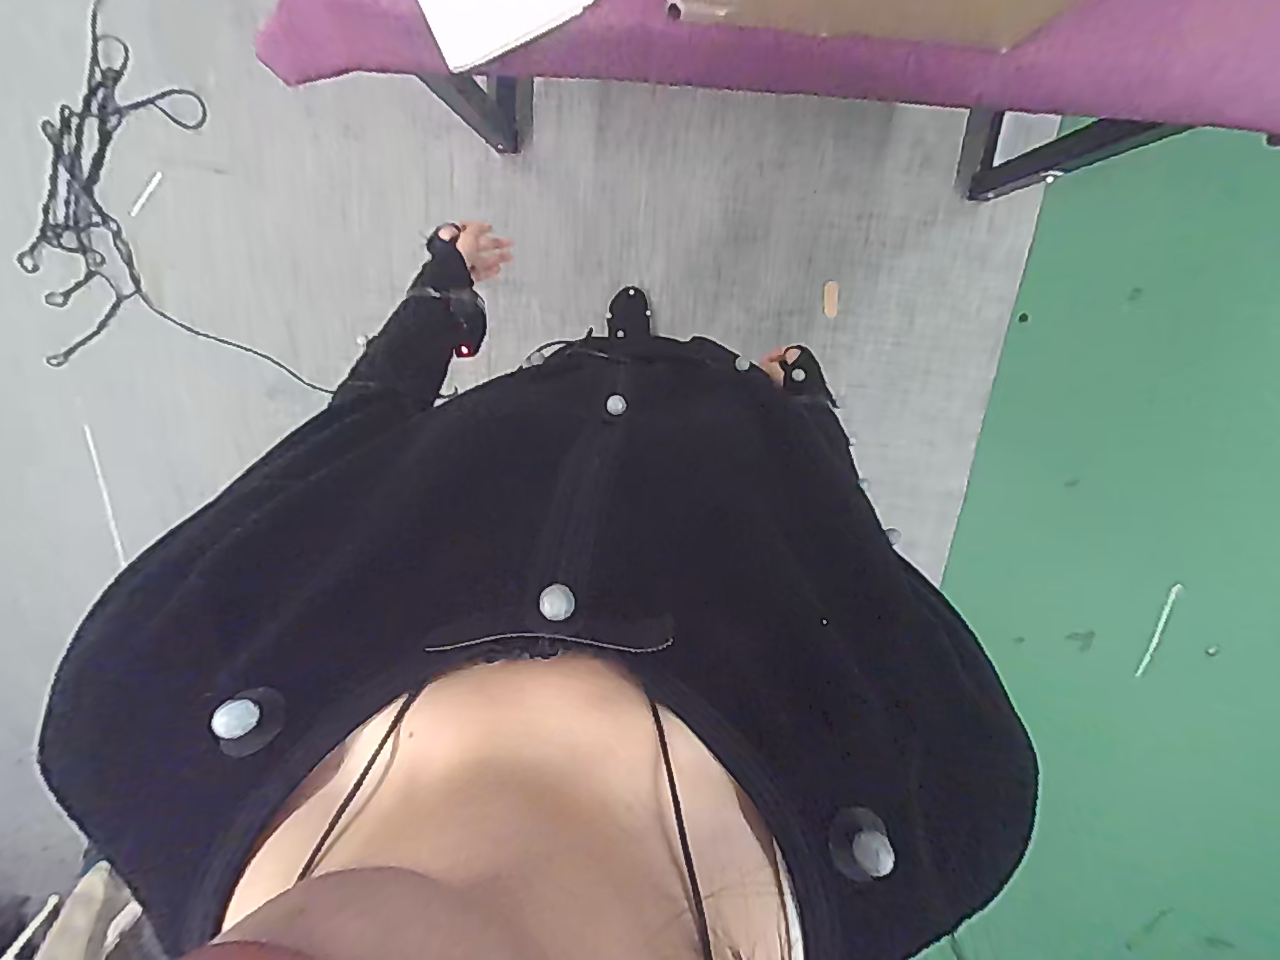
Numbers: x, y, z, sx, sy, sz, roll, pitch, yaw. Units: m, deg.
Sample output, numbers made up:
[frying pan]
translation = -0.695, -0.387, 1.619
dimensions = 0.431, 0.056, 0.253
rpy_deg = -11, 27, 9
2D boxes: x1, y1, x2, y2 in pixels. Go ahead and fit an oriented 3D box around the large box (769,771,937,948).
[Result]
[large box]
translation = 0.651, 1.177, 1.701
dimensions = 0.408, 0.320, 0.320
rpy_deg = -9, 107, 4
